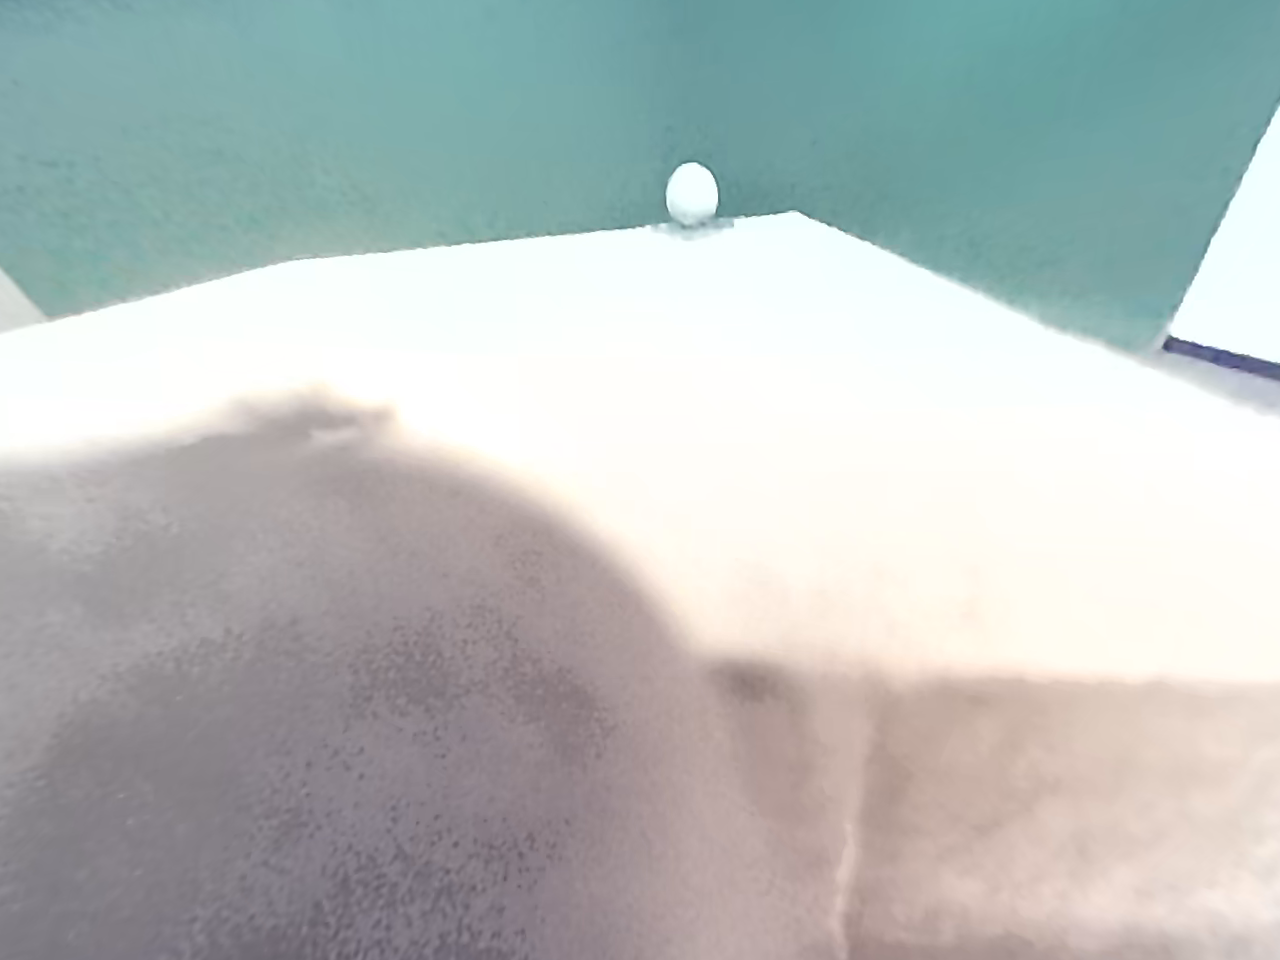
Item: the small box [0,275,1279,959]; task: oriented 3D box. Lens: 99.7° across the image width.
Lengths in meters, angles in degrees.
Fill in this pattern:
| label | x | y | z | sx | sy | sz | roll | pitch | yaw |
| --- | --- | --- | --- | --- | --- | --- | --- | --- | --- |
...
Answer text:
| label | x | y | z | sx | sy | sz | roll | pitch | yaw |
| --- | --- | --- | --- | --- | --- | --- | --- | --- | --- |
| small box | -0.023 | 0.051 | 0.139 | 0.168 | 0.179 | 0.176 | -3 | 29 | 7 |
